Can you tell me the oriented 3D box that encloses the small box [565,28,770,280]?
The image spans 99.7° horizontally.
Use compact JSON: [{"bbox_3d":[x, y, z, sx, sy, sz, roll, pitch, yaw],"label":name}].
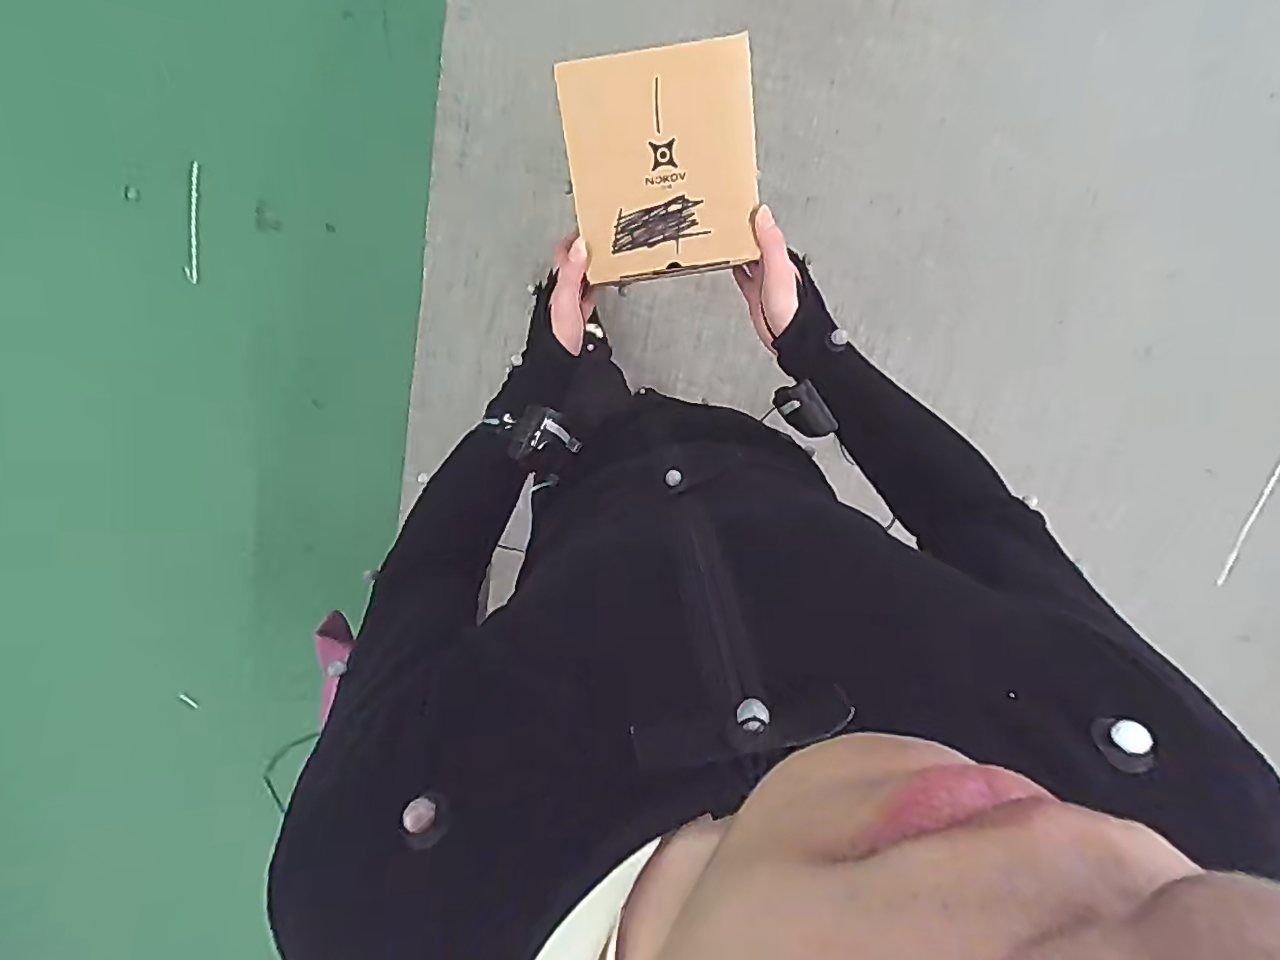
[{"bbox_3d":[0.027,-0.301,0.541,0.168,0.176,0.179,-7,108,1],"label":"small box"}]
